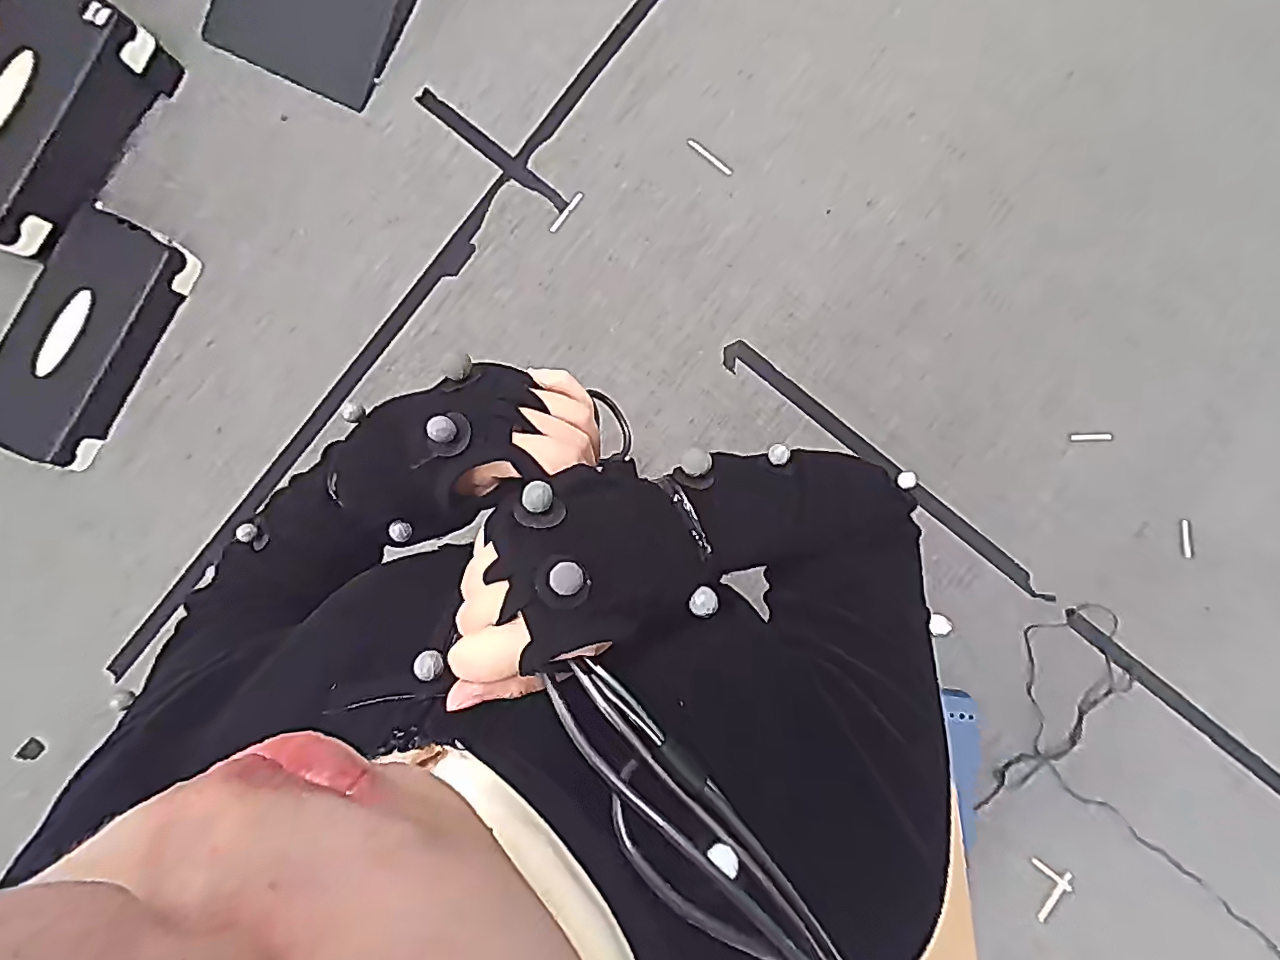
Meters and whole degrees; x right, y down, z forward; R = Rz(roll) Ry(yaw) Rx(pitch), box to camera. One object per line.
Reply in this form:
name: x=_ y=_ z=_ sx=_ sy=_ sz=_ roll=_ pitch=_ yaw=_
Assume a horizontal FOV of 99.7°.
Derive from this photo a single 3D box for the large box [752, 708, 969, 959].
large box: x=0.448 y=0.766 z=1.168 sx=0.320 sy=0.320 sz=0.408 roll=-6 pitch=90 yaw=-1
